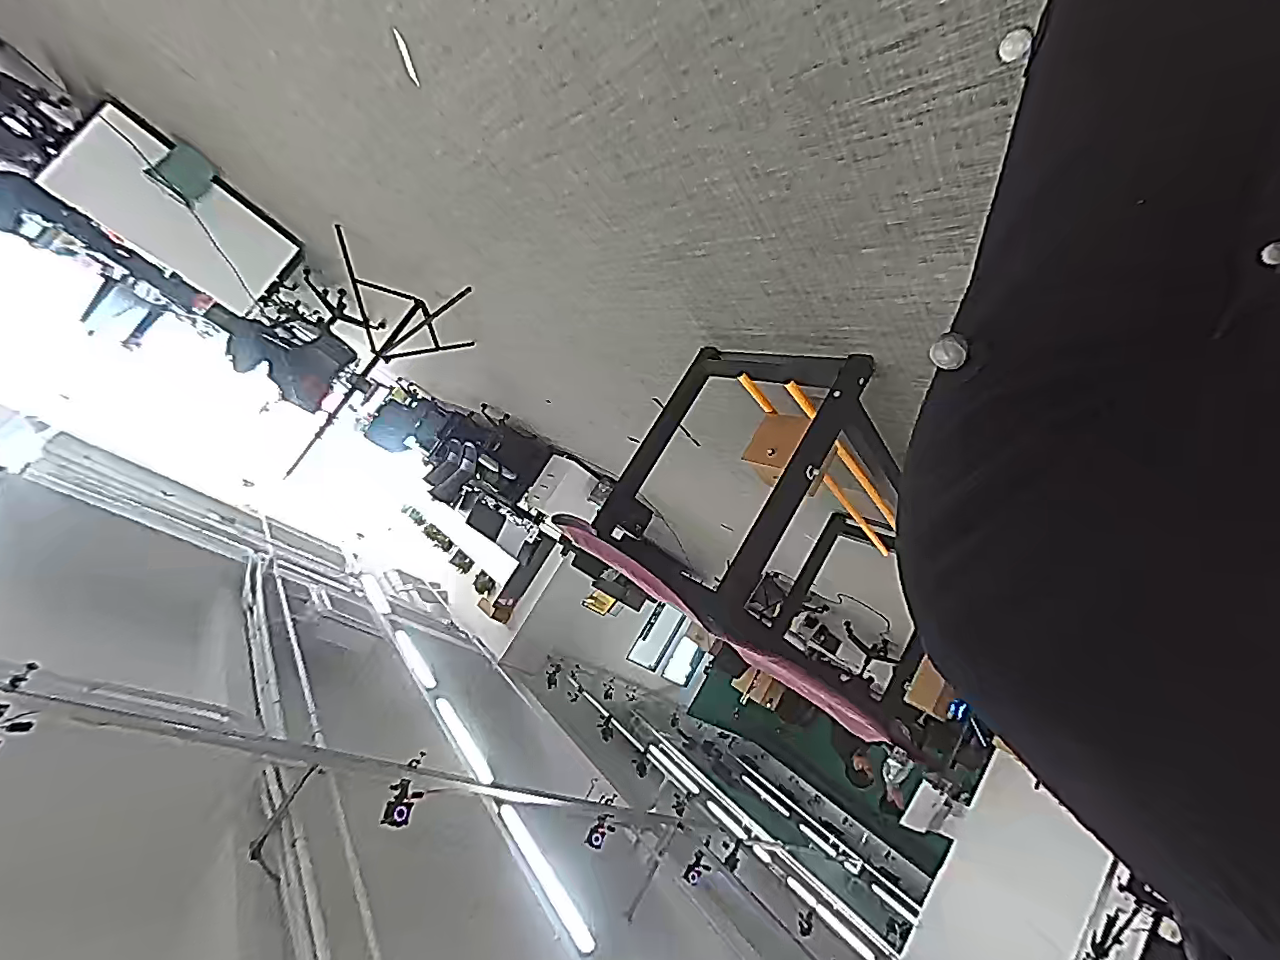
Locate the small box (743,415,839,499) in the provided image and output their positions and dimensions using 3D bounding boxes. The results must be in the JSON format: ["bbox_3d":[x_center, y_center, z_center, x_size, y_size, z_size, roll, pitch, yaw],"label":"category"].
[{"bbox_3d":[0.437,-0.073,1.556,0.168,0.176,0.179,38,167,-38],"label":"small box"}]
